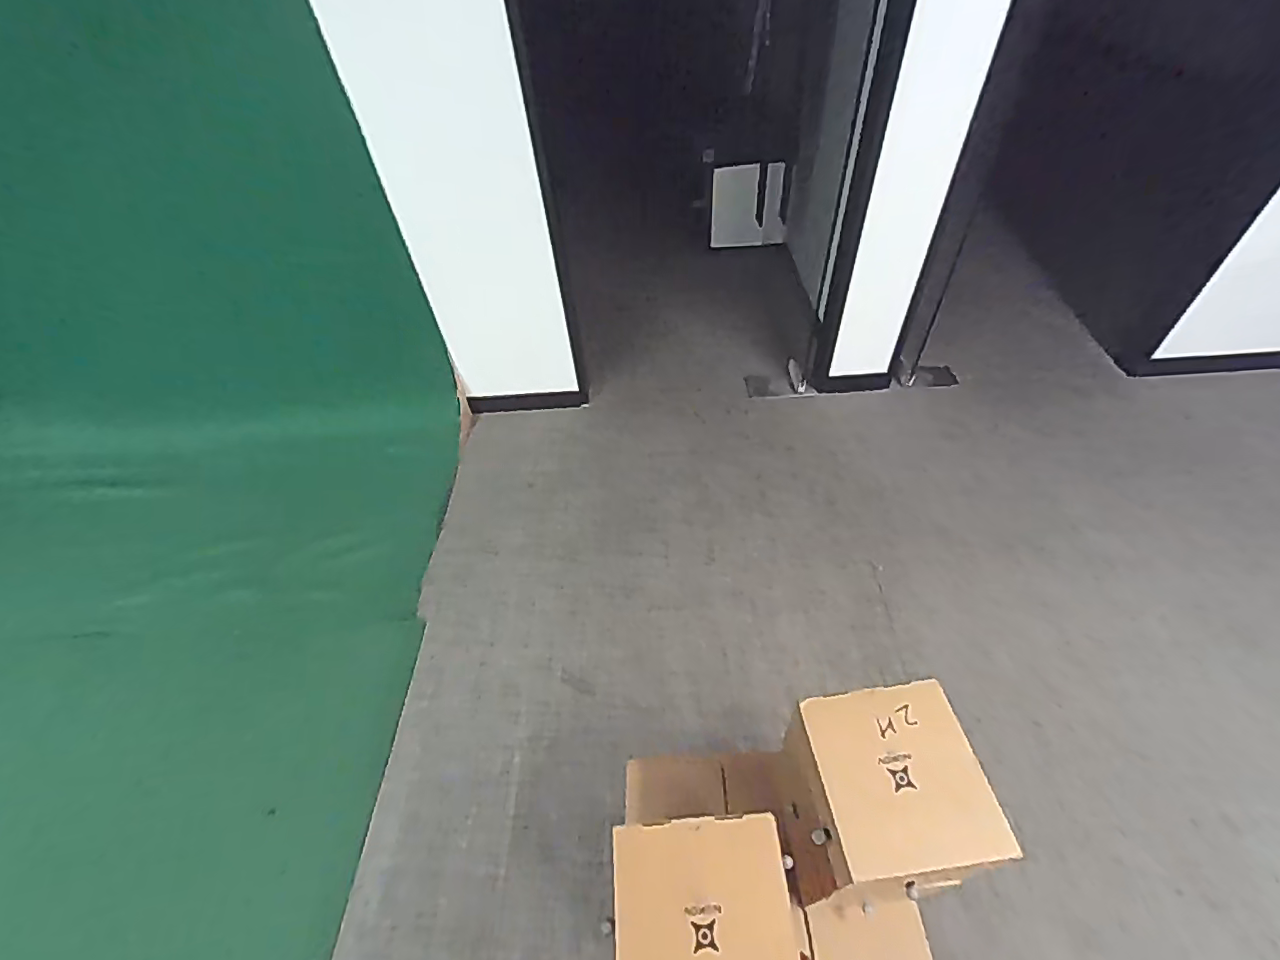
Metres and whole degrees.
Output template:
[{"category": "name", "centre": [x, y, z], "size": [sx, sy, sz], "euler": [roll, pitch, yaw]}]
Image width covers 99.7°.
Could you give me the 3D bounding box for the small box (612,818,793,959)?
[{"category": "small box", "centre": [0.062, 0.470, 0.565], "size": [0.168, 0.176, 0.179], "euler": [-5, 50, 0]}]

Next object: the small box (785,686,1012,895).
[{"category": "small box", "centre": [0.278, 0.367, 0.631], "size": [0.168, 0.176, 0.179], "euler": [-8, 48, 0]}]
